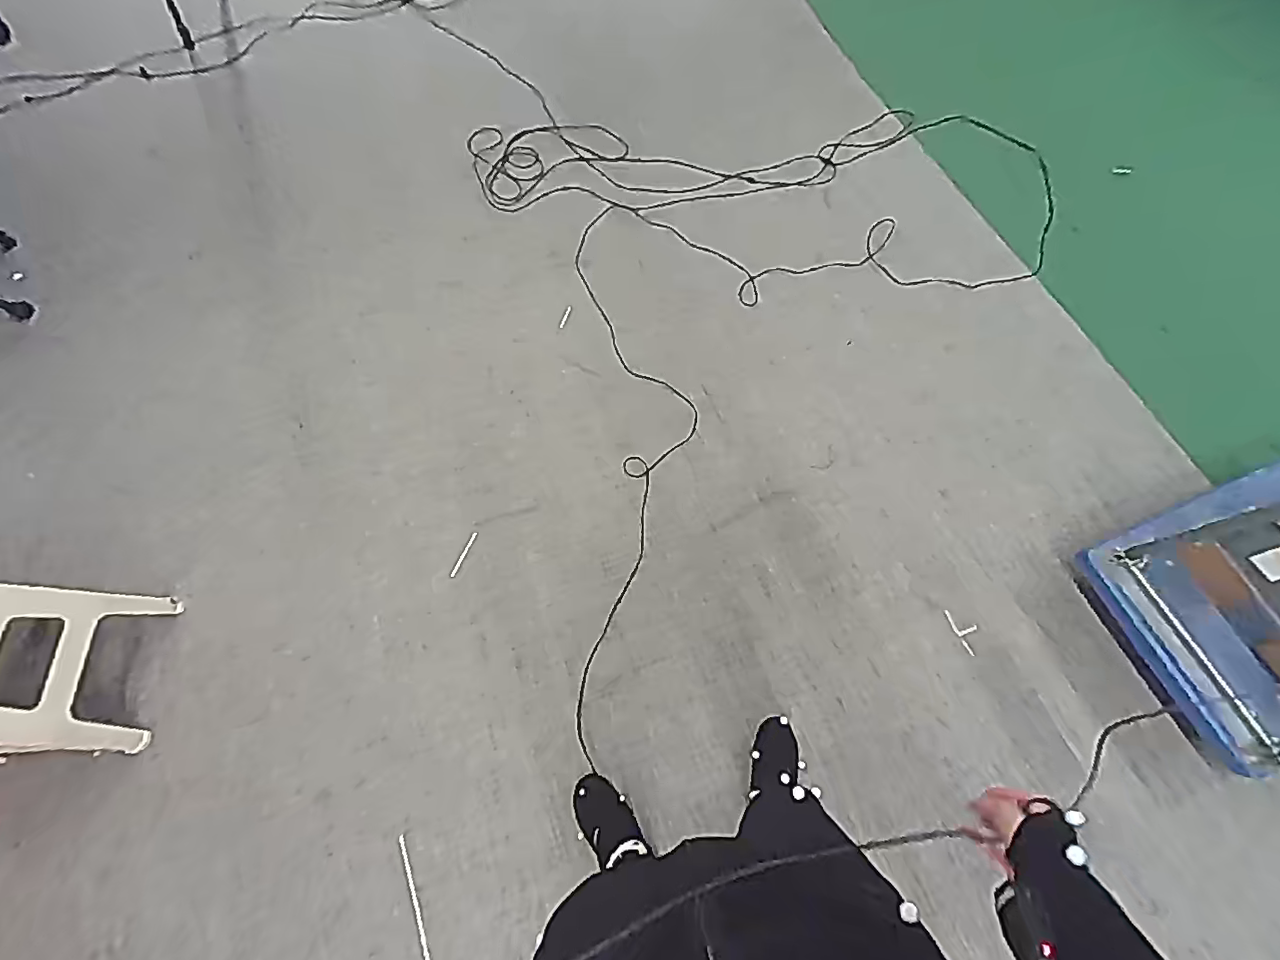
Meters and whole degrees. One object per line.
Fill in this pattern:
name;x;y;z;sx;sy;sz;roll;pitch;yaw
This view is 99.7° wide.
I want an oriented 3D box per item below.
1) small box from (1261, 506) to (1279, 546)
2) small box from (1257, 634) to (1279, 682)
small box;1.733;0.113;1.343;0.179;0.176;0.168;-24;70;-9
small box;1.592;0.415;1.218;0.179;0.176;0.168;-20;69;-7
